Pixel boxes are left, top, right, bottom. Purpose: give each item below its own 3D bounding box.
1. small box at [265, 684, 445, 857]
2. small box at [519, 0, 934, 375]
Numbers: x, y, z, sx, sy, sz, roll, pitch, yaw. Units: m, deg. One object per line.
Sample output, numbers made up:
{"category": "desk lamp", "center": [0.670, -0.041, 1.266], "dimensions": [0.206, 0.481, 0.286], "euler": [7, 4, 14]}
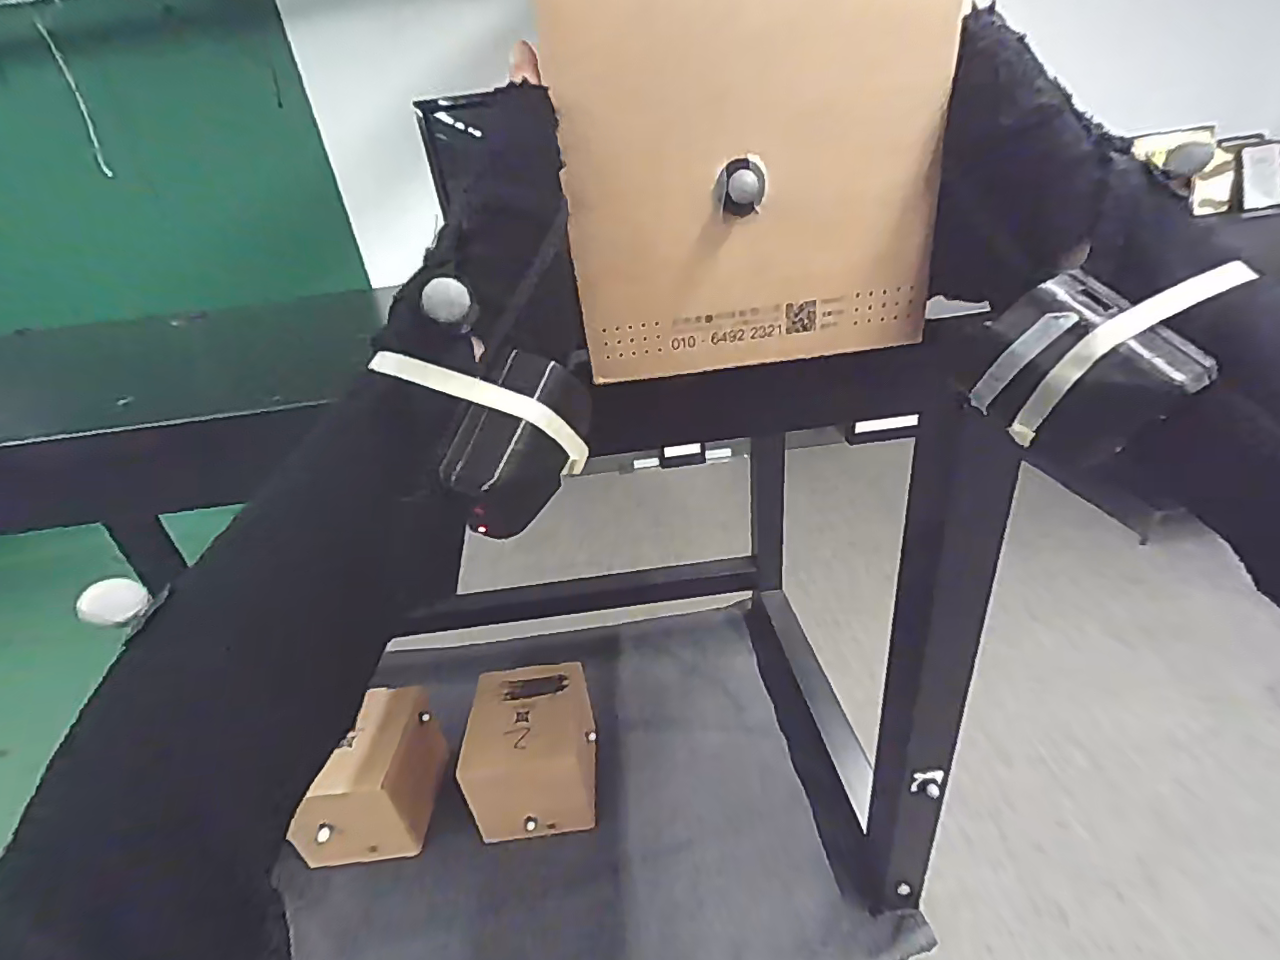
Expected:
{"category": "small box", "center": [-0.420, 0.451, 0.836], "dimensions": [0.168, 0.176, 0.179], "euler": [-7, 27, 1]}
{"category": "small box", "center": [0.043, -0.163, 0.308], "dimensions": [0.168, 0.176, 0.179], "euler": [-6, 28, 2]}
